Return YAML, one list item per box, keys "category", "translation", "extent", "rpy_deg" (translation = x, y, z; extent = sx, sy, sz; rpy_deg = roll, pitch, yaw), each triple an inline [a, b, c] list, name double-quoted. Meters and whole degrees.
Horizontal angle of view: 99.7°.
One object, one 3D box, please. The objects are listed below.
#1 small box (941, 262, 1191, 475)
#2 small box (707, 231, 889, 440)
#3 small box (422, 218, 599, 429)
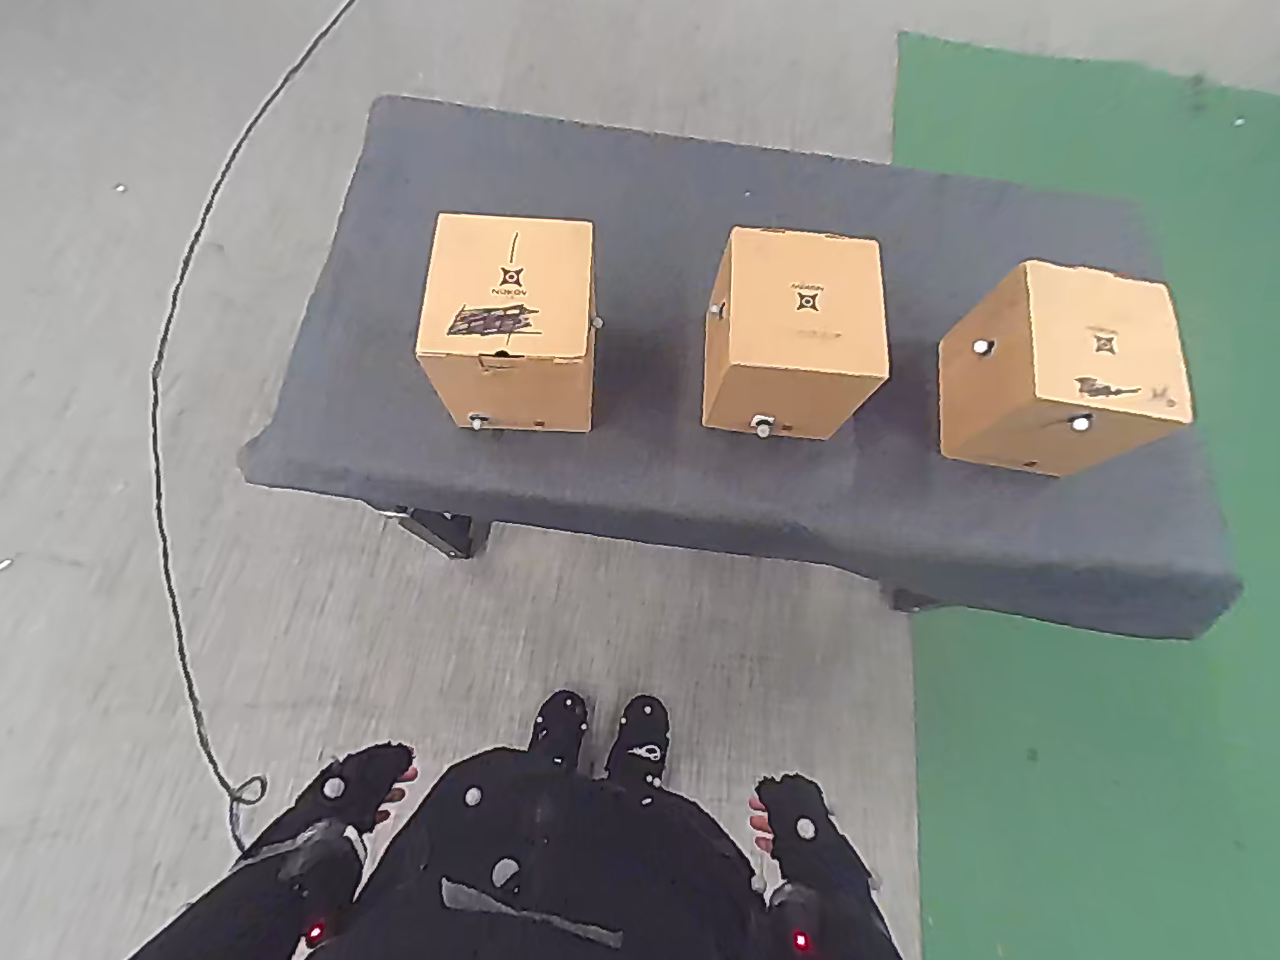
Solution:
- category: "small box"
  translation: [0.488, -0.125, 0.653]
  extent: [0.168, 0.176, 0.179]
  rpy_deg: [9, 71, 1]
- category: "small box"
  translation: [0.175, -0.164, 0.651]
  extent: [0.168, 0.176, 0.179]
  rpy_deg: [4, 72, 0]
- category: "small box"
  translation: [-0.135, -0.171, 0.631]
  extent: [0.168, 0.176, 0.179]
  rpy_deg: [2, 69, -3]
